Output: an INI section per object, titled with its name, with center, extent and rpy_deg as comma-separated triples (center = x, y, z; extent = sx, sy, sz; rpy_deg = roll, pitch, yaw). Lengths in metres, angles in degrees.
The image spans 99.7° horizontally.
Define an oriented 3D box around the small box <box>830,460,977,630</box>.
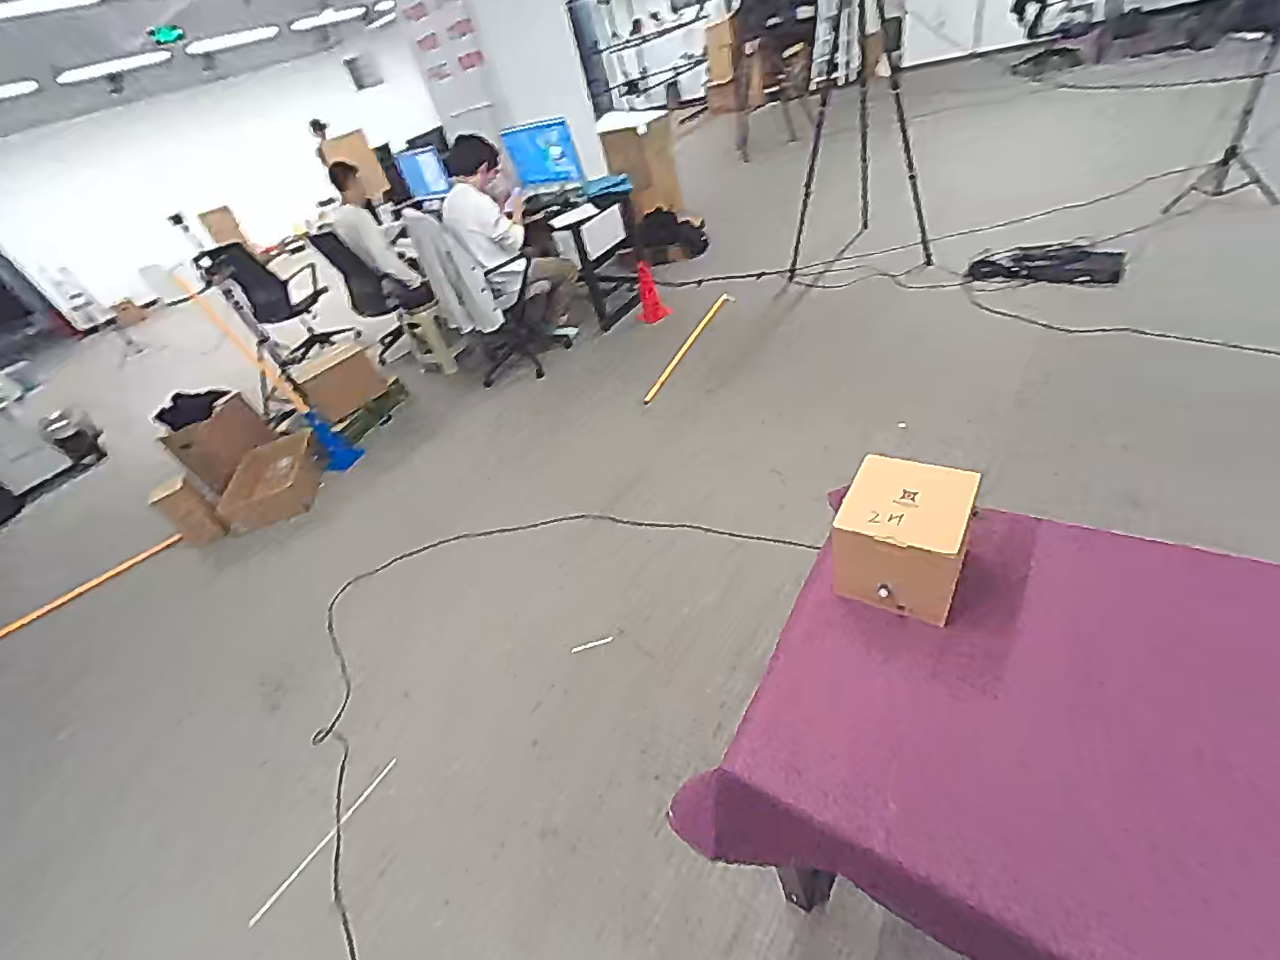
[small box]
center = 0.409, 0.098, 0.849
extent = 0.168, 0.176, 0.179
rpy_deg = 13, 49, 34
